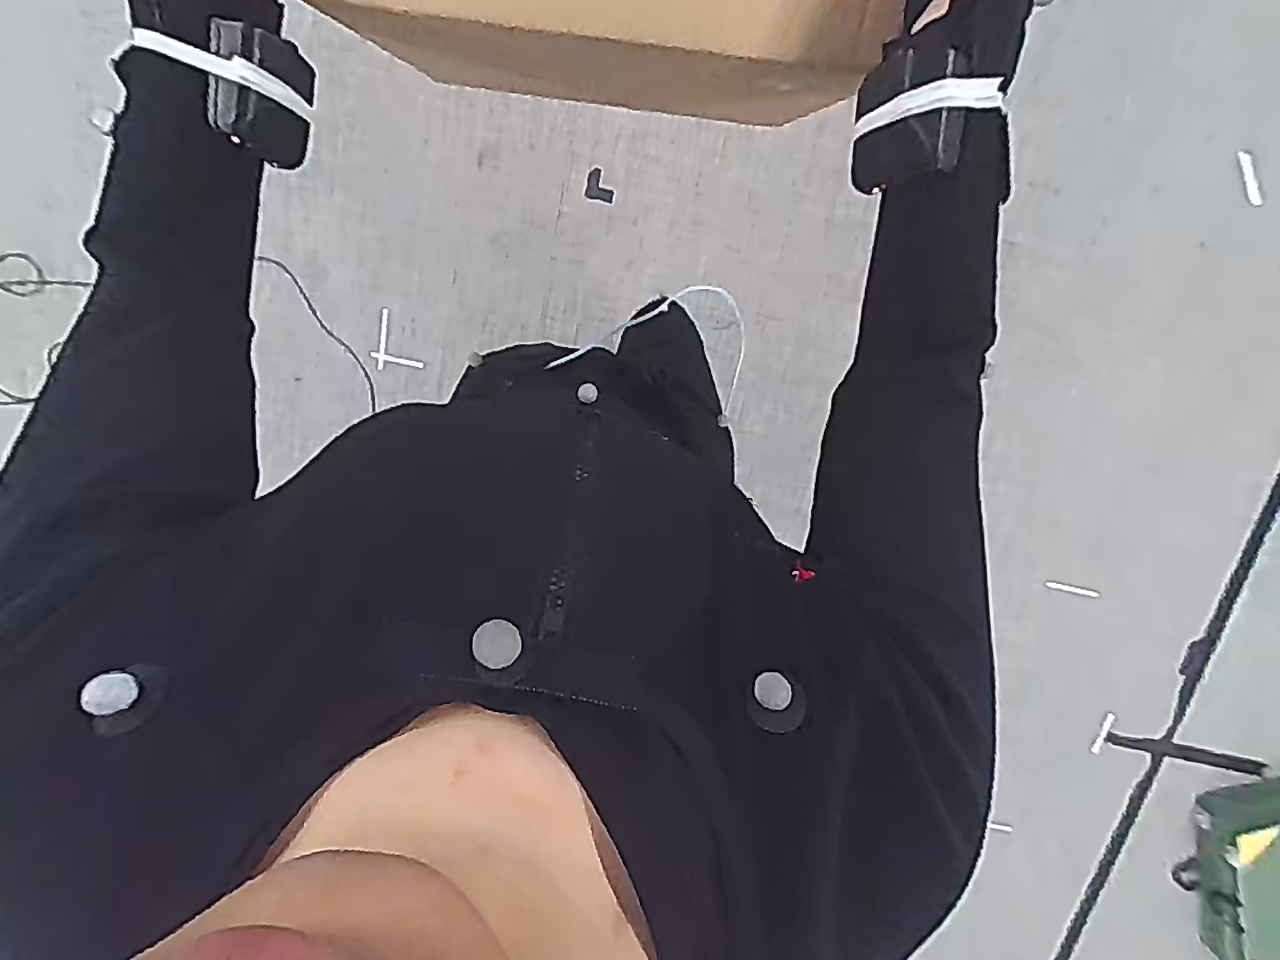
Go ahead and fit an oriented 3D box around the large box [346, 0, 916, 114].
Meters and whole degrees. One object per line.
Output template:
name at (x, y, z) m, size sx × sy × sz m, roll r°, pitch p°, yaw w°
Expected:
large box at (-0.009, -0.510, 0.423) m, size 0.408 × 0.320 × 0.320 m, roll 4°, pitch 118°, yaw -5°
